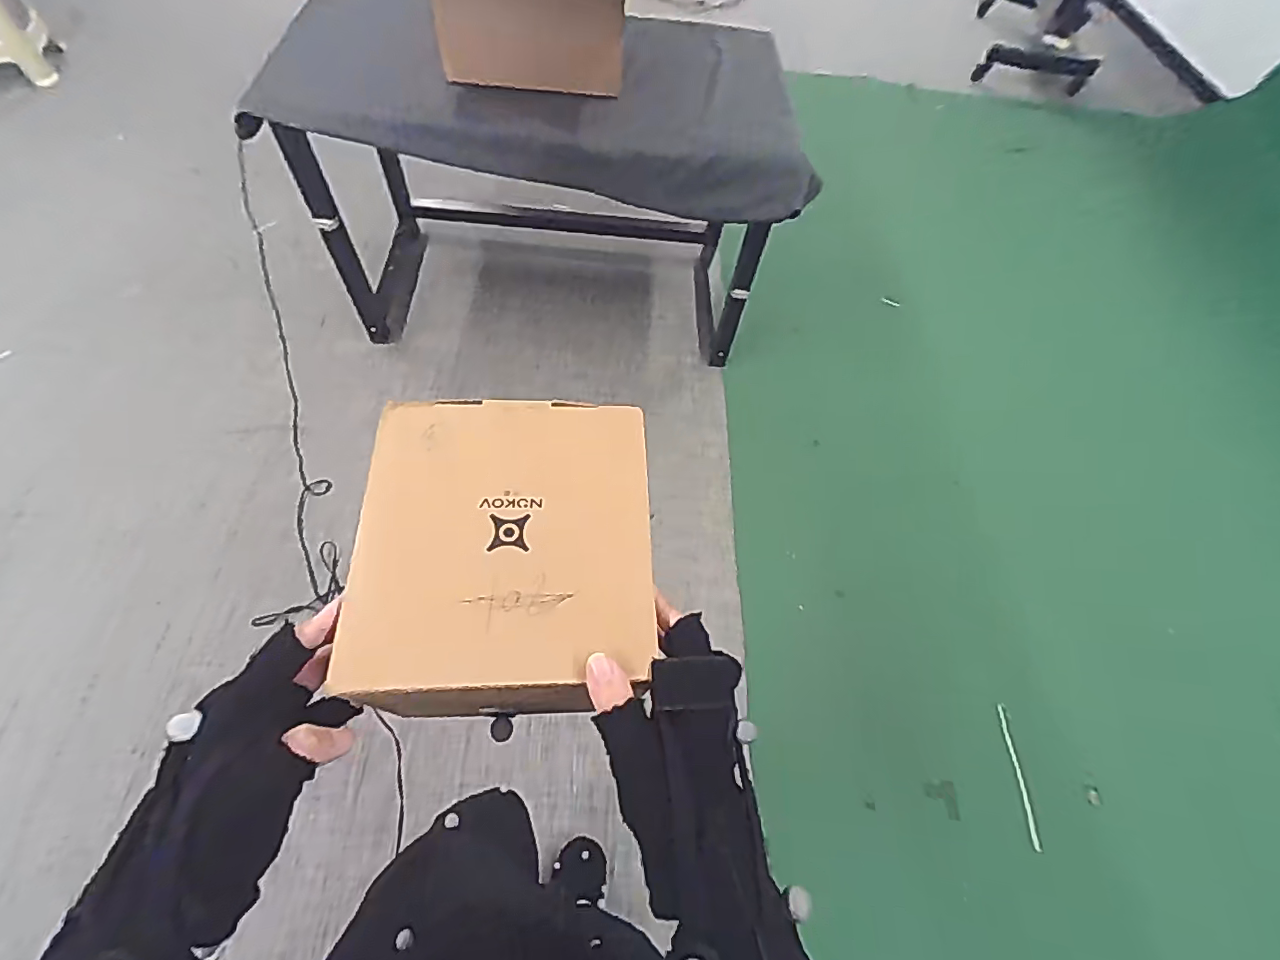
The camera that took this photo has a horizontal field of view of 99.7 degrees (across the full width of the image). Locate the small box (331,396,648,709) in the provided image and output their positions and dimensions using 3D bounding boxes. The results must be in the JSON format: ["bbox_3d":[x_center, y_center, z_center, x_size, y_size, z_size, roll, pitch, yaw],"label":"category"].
[{"bbox_3d":[-0.088,0.061,0.390,0.168,0.176,0.179,0,63,-7],"label":"small box"}]
